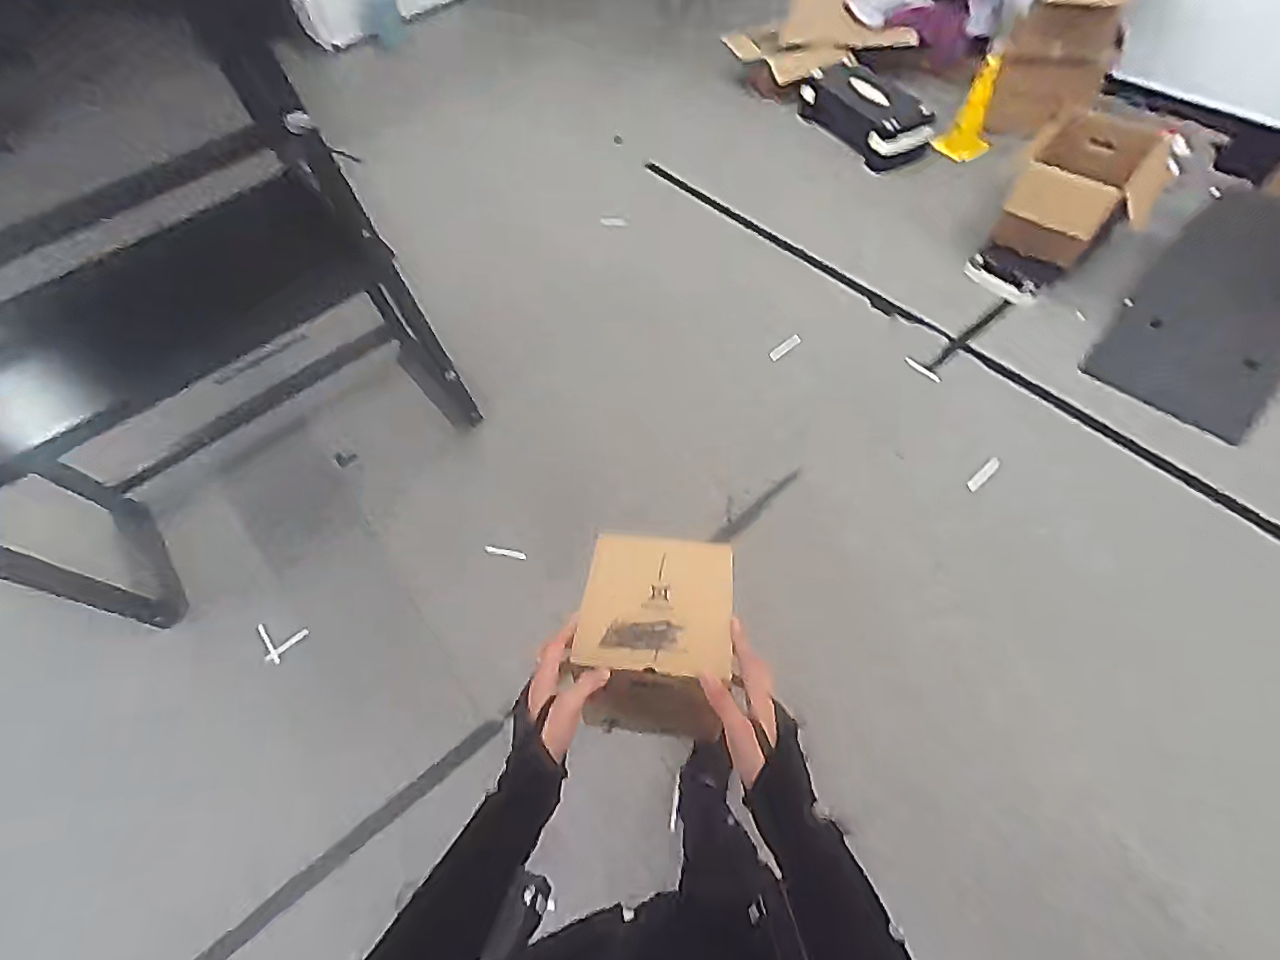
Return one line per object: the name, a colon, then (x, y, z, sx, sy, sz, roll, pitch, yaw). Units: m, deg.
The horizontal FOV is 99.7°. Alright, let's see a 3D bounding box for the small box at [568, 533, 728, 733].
small box: (0.017, 0.189, 0.661, 0.168, 0.176, 0.179, 5, 46, 4)
